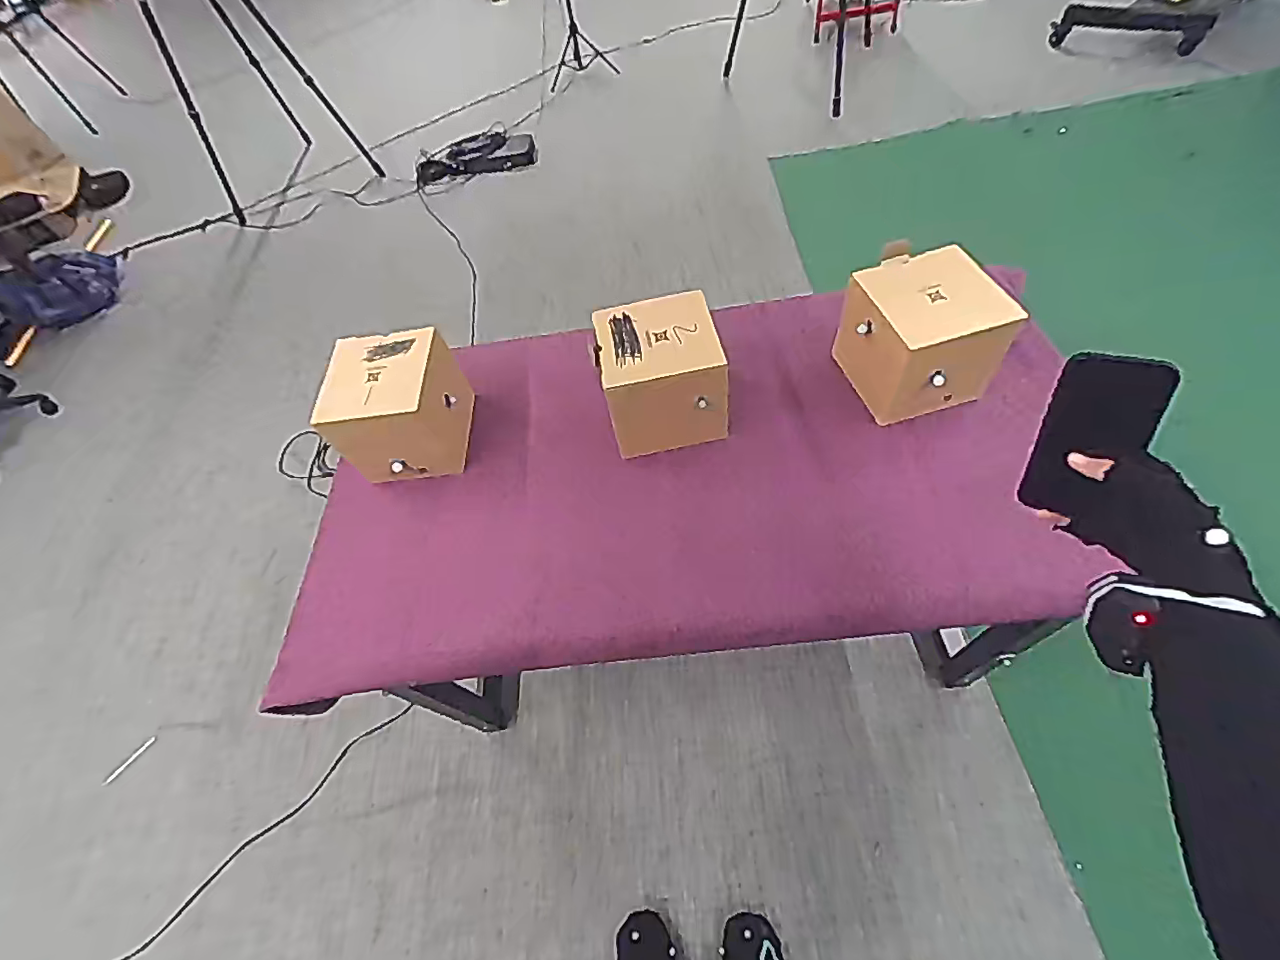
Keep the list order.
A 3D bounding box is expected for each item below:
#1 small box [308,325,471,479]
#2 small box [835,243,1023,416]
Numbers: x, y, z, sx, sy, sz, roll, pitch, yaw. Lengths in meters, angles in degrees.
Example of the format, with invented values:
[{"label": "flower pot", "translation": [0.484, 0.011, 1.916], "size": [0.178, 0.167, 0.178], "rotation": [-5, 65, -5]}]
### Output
[{"label": "small box", "translation": [-0.389, -0.122, 0.879], "size": [0.168, 0.176, 0.179], "rotation": [-6, 59, 5]}, {"label": "small box", "translation": [0.417, -0.217, 0.817], "size": [0.168, 0.176, 0.179], "rotation": [-16, 56, -1]}]
